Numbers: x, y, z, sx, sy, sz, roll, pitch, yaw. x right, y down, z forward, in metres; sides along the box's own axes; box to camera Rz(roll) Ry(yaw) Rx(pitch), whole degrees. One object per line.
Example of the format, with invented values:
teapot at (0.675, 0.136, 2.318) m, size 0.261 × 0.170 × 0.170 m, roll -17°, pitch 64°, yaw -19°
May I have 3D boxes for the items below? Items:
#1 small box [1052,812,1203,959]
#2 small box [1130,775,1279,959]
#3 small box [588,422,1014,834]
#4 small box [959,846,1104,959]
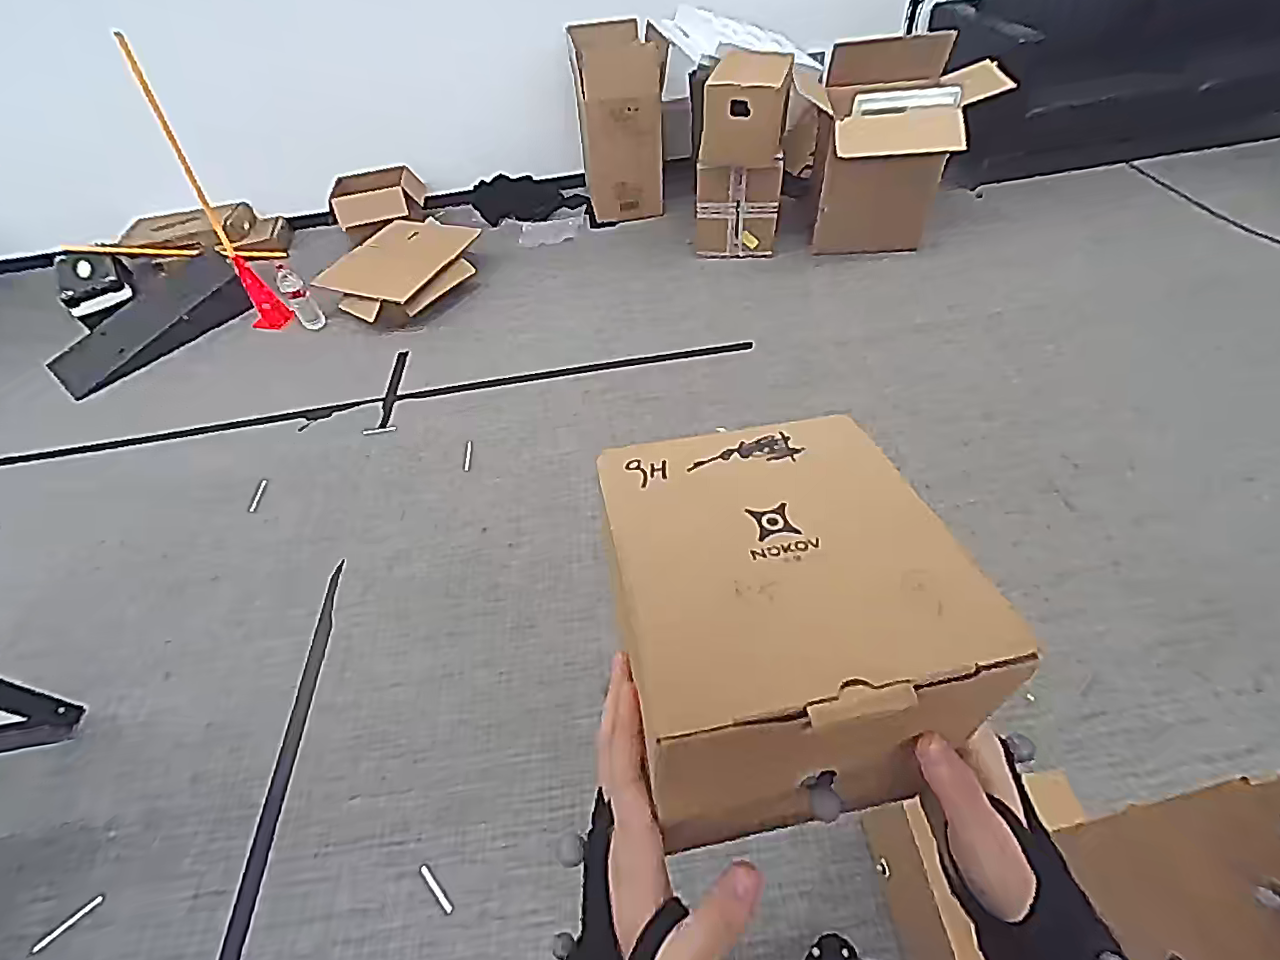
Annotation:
small box at (0.594, 0.457, 0.569) m, size 0.168 × 0.176 × 0.179 m, roll -6°, pitch 50°, yaw 2°
small box at (0.580, 0.353, 0.446) m, size 0.168 × 0.176 × 0.179 m, roll -7°, pitch 49°, yaw 3°
small box at (0.067, 0.092, 0.332) m, size 0.168 × 0.176 × 0.179 m, roll -9°, pitch 44°, yaw -7°
small box at (0.624, 0.669, 0.818) m, size 0.168 × 0.176 × 0.179 m, roll -10°, pitch 51°, yaw 0°
